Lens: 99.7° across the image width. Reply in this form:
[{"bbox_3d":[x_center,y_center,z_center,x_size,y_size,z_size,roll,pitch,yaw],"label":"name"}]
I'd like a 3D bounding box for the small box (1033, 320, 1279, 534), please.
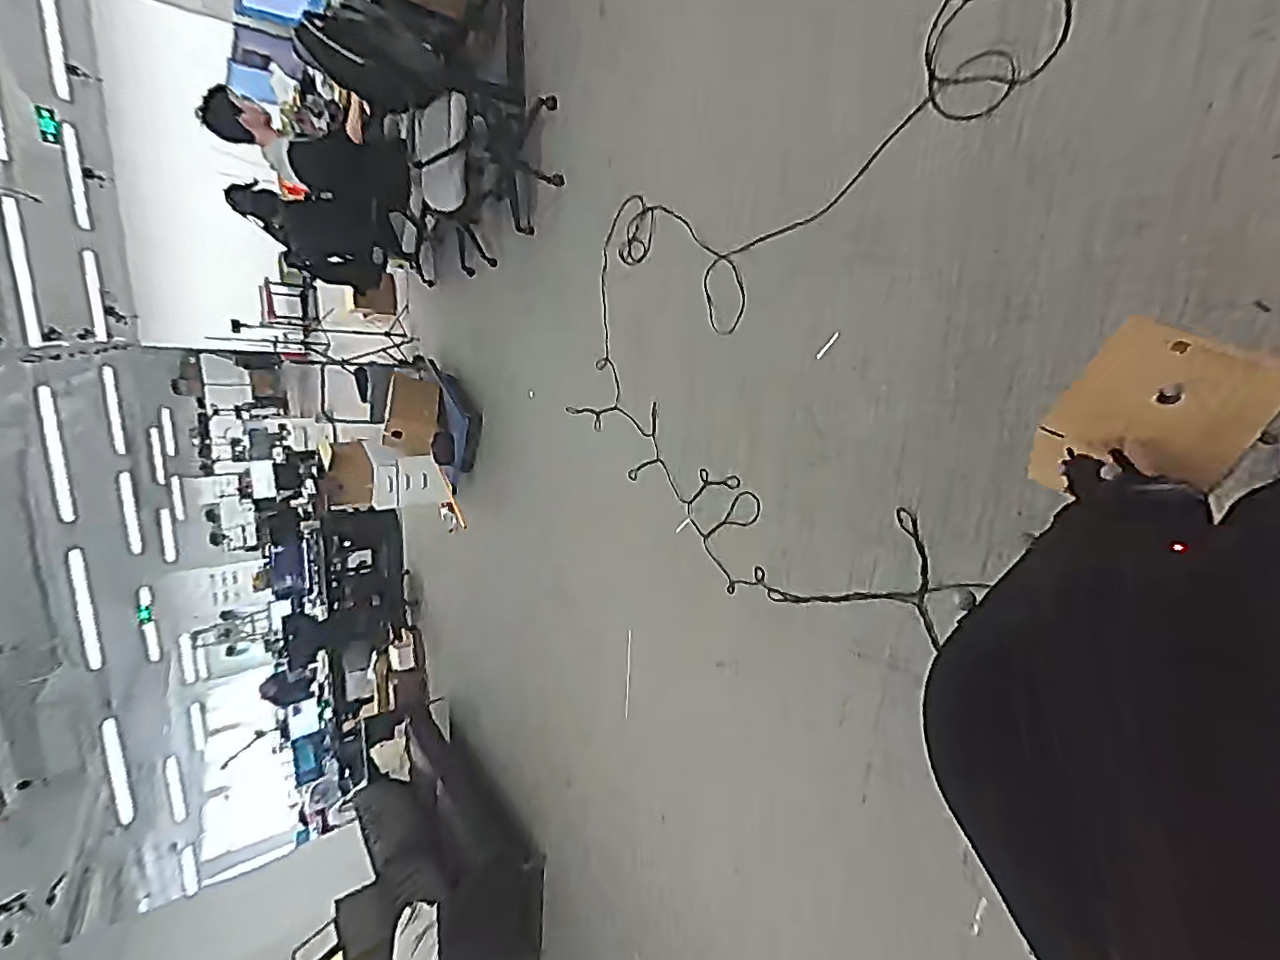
[{"bbox_3d":[0.627,-0.065,0.664,0.168,0.179,0.176,39,92,38],"label":"small box"}]
